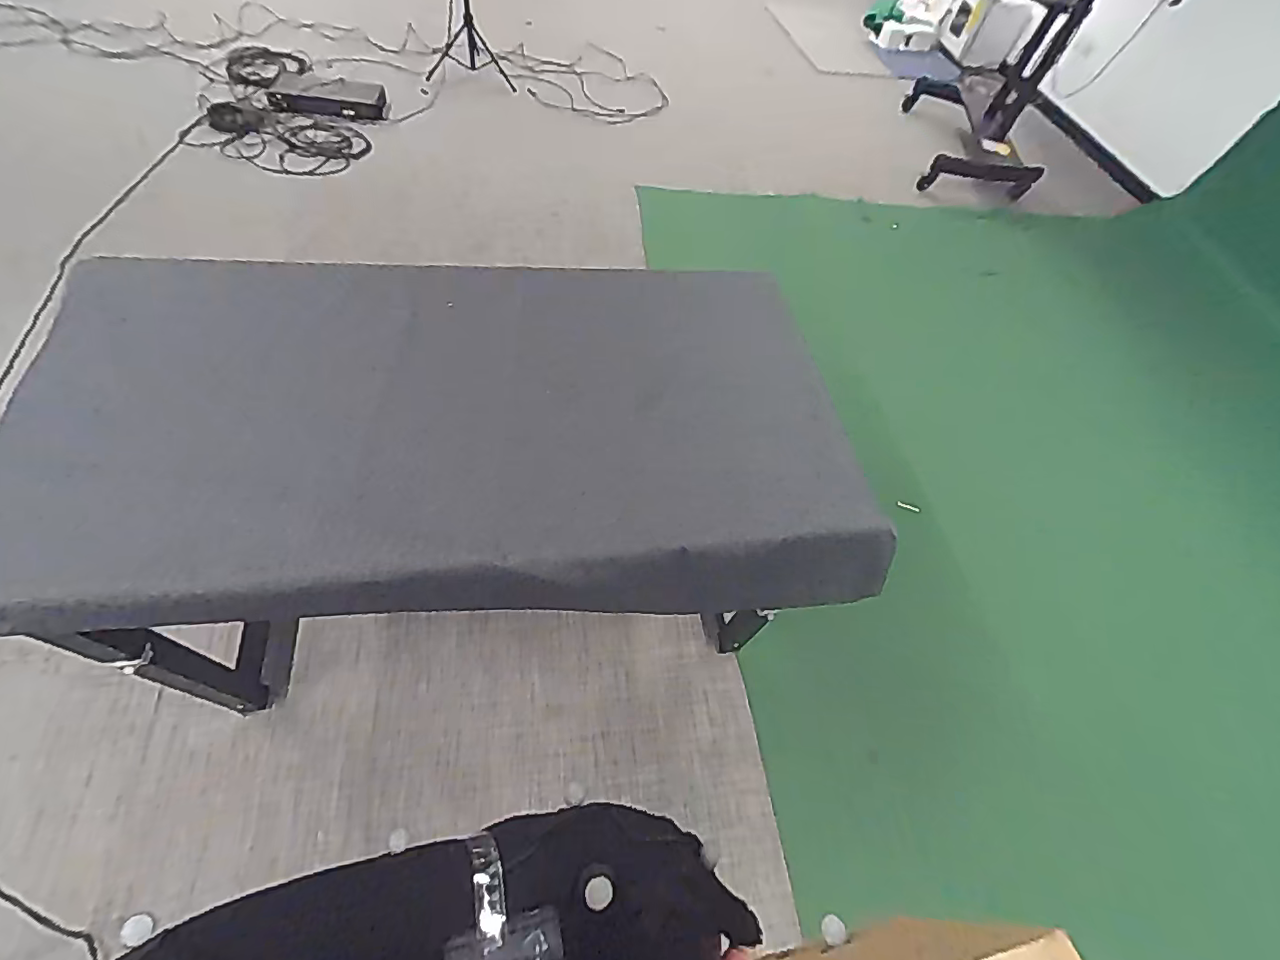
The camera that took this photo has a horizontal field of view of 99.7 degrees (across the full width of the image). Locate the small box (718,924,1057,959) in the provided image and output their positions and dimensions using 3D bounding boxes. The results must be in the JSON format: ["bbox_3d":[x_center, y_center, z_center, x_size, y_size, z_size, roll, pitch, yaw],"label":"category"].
[{"bbox_3d":[0.135,0.359,0.280,0.168,0.176,0.179,-3,53,-12],"label":"small box"}]
